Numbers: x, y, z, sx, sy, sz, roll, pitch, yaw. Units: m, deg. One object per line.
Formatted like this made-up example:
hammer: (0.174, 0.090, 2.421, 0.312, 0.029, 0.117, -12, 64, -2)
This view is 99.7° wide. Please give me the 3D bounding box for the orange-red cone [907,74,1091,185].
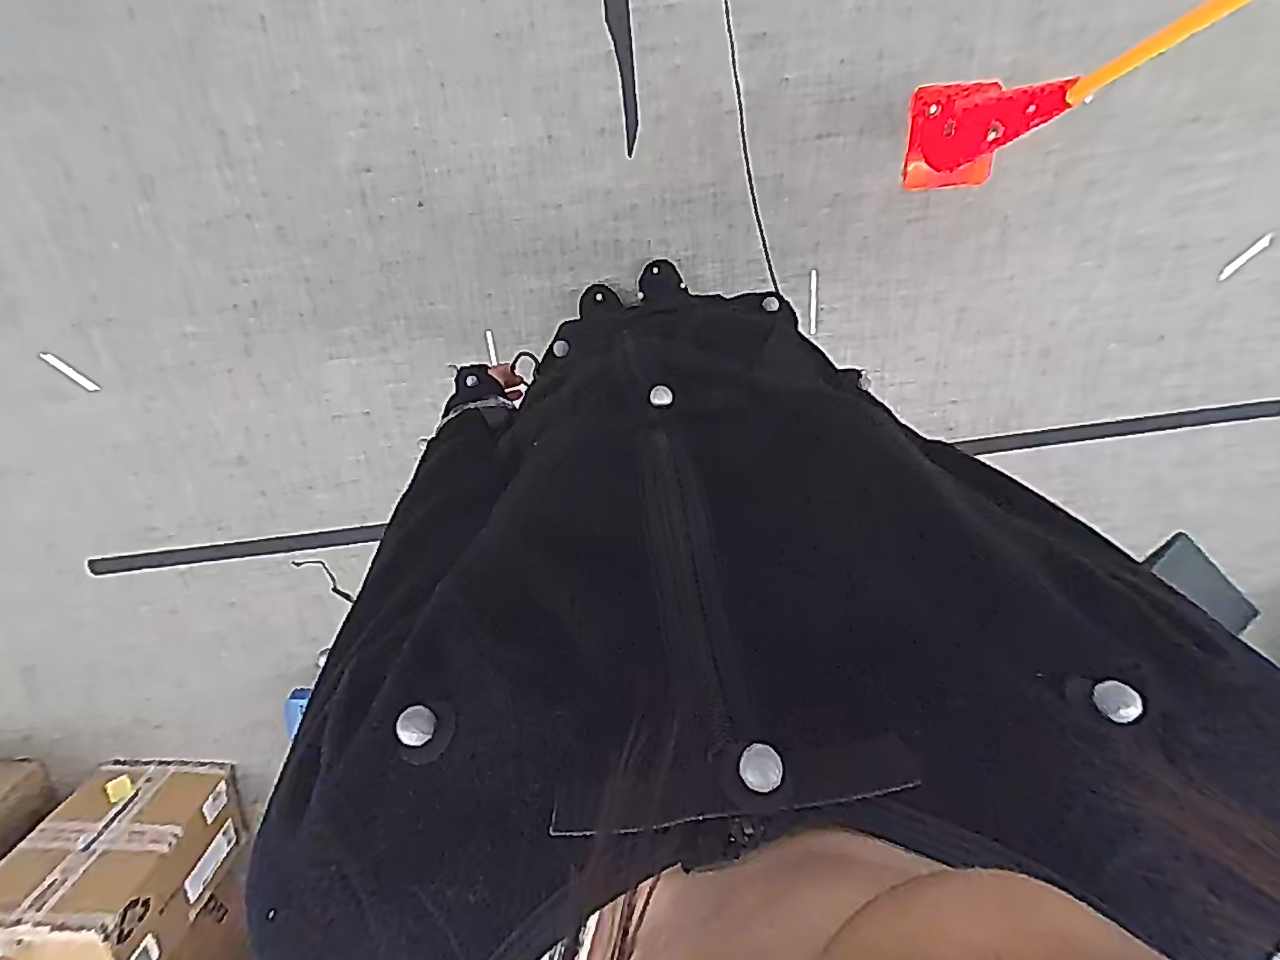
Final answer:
orange-red cone: (0.702, -0.698, 1.032, 0.198, 0.360, 0.199, -3, 113, -1)
